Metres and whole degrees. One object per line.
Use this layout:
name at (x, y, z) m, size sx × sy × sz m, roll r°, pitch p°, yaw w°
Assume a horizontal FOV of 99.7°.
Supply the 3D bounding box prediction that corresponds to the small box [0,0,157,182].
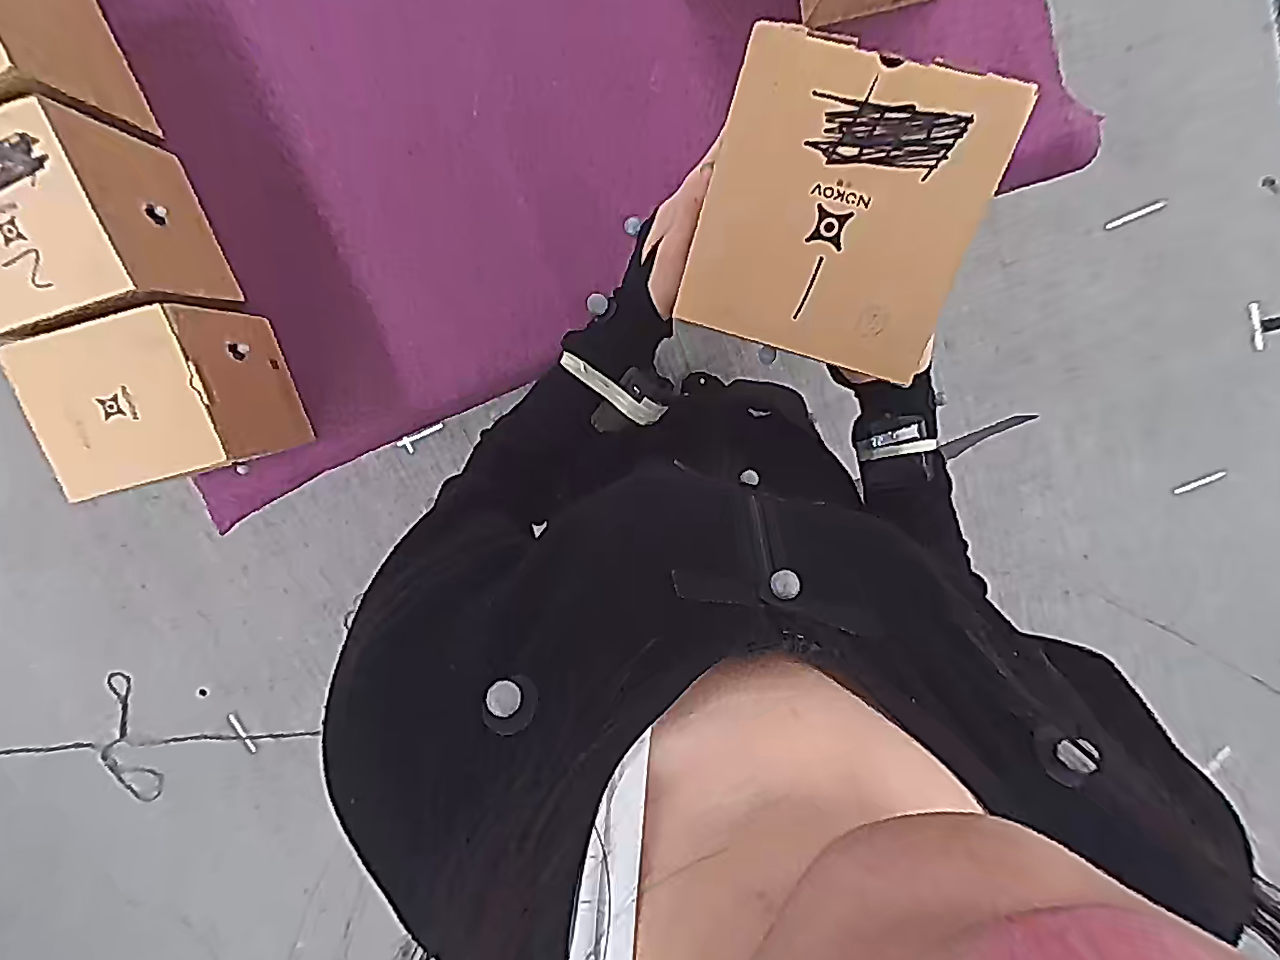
small box at (-0.653, -0.431, 0.532) m, size 0.168 × 0.176 × 0.179 m, roll -19°, pitch 104°, yaw 2°

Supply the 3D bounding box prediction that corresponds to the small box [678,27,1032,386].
small box at (0.139, -0.187, 0.415) m, size 0.168 × 0.176 × 0.179 m, roll 19°, pitch 108°, yaw 6°
